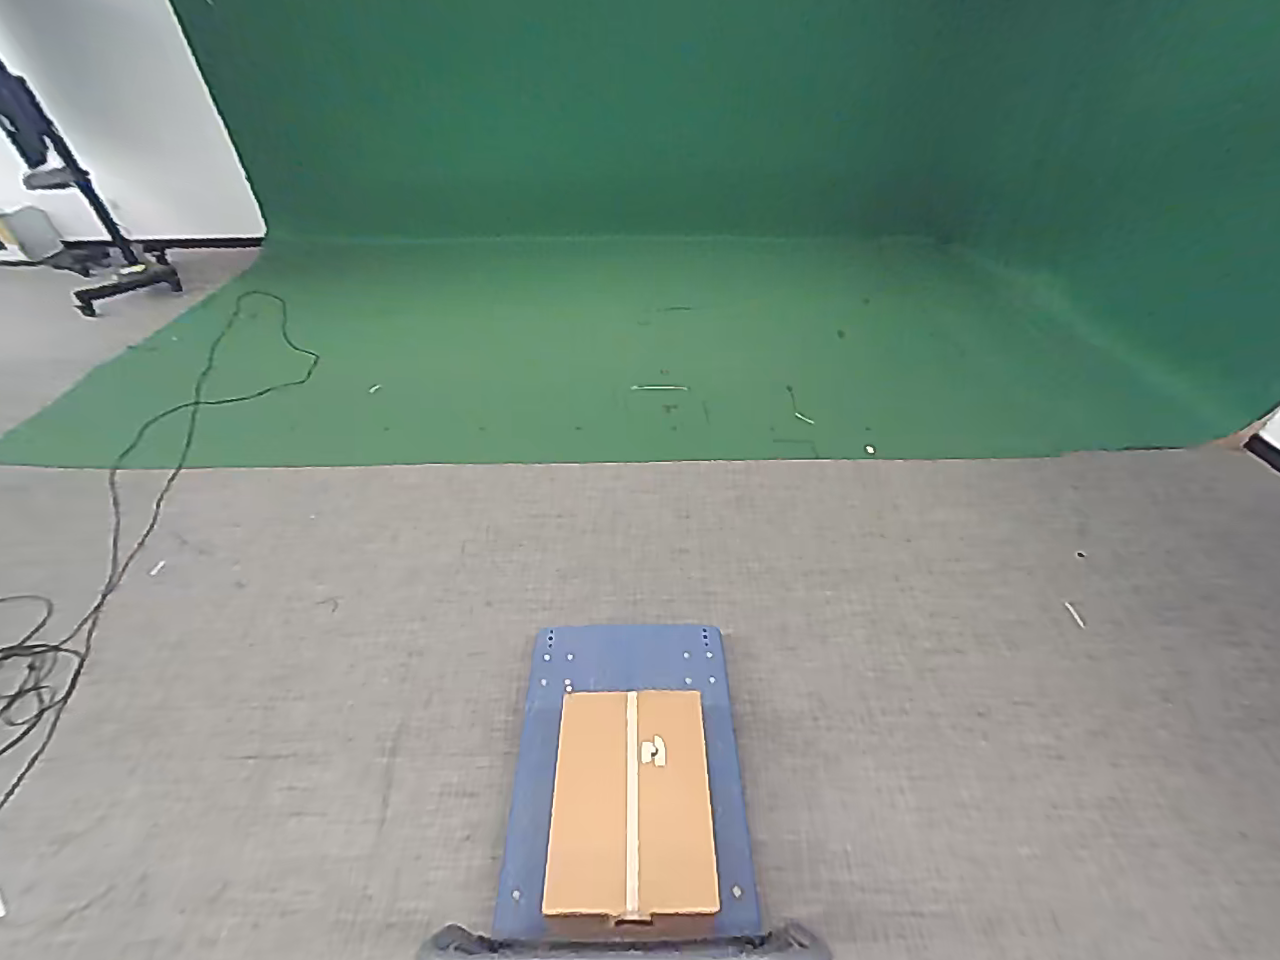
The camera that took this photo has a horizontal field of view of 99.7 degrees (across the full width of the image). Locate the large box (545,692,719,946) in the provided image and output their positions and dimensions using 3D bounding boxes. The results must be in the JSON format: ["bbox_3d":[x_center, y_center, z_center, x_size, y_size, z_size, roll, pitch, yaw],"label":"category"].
[{"bbox_3d":[-0.016,0.732,1.186,0.320,0.320,0.408,0,41,-1],"label":"large box"}]
